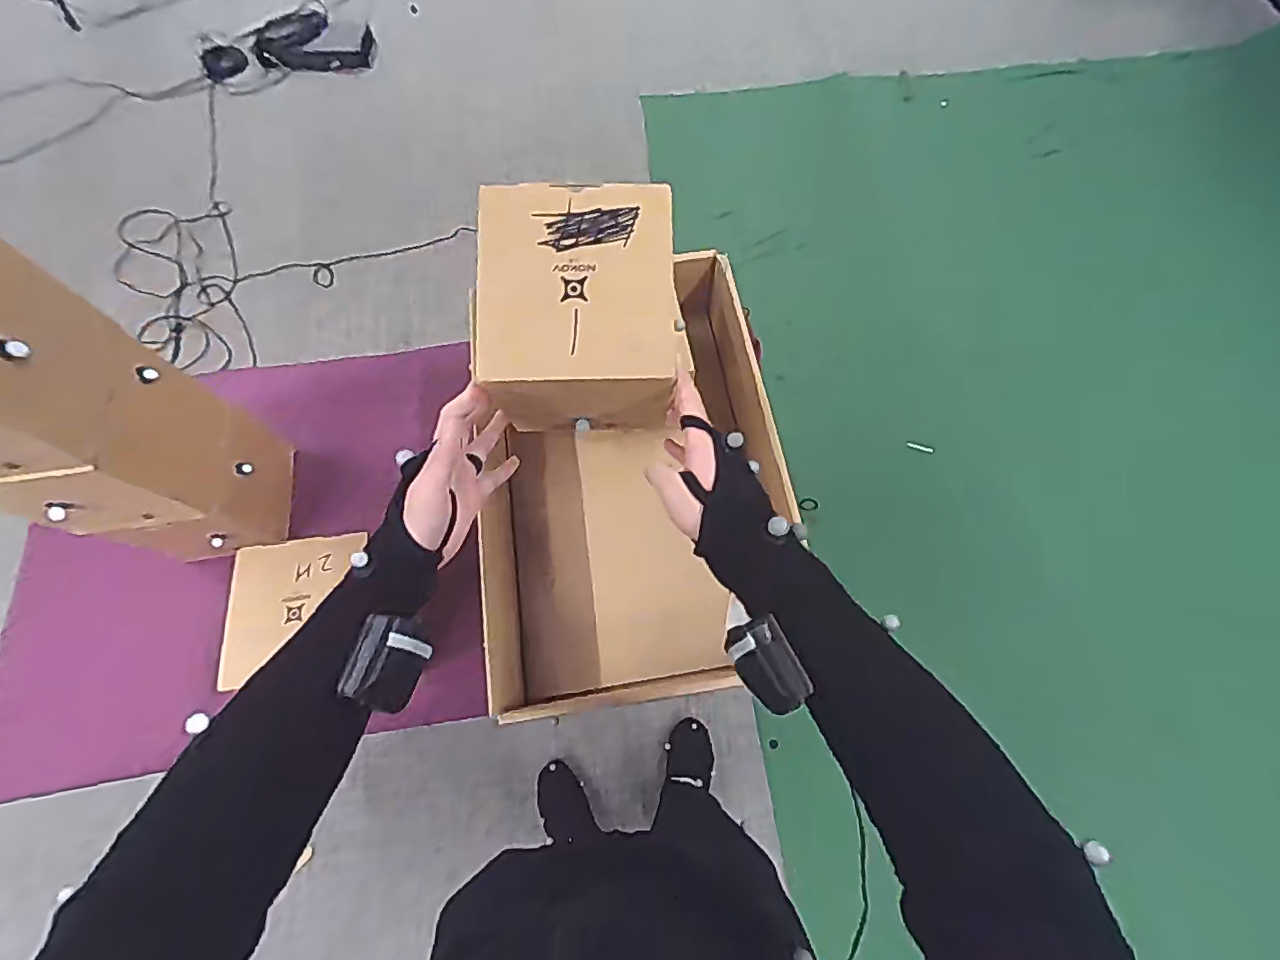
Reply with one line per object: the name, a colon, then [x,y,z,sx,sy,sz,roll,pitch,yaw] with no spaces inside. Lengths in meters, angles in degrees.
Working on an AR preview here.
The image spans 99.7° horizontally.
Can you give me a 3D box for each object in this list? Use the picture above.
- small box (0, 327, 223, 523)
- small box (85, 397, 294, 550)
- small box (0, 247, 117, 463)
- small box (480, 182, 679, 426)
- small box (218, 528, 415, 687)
small box: [-0.650,-0.054,0.654,0.168,0.176,0.179,-8,69,-4]
small box: [-0.650,0.000,0.806,0.168,0.176,0.179,-7,69,-4]
small box: [-0.649,-0.118,0.502,0.168,0.176,0.179,-8,70,-4]
small box: [-0.050,-0.160,0.533,0.168,0.176,0.179,-1,82,0]
small box: [-0.418,0.178,0.733,0.168,0.176,0.179,-7,68,-3]
